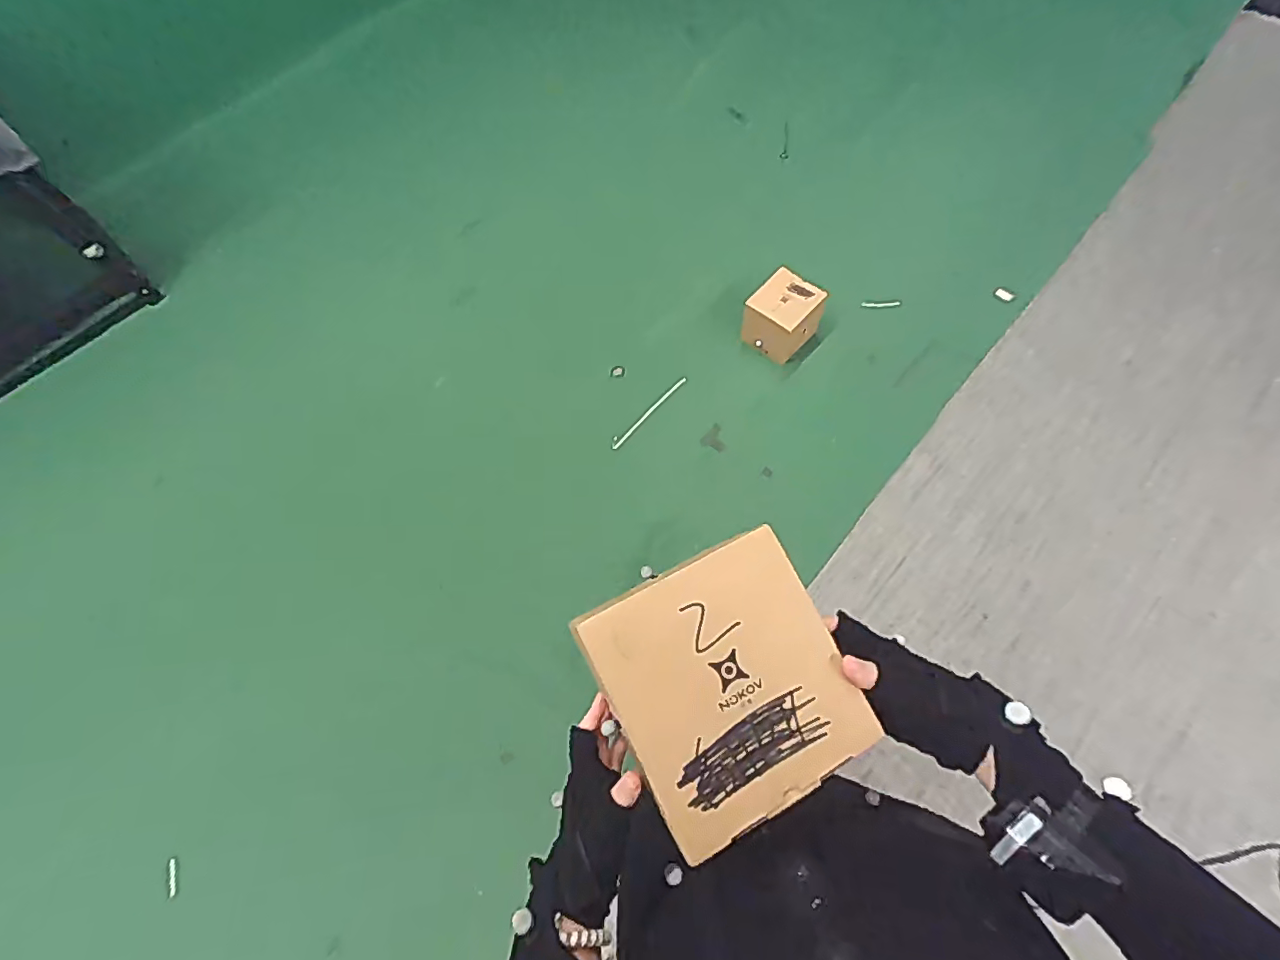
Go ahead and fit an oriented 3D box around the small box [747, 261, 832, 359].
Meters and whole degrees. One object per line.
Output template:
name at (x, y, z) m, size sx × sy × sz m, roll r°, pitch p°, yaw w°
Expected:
small box at (0.433, -0.499, 1.602) m, size 0.168 × 0.176 × 0.179 m, roll 40°, pitch 77°, yaw 19°
